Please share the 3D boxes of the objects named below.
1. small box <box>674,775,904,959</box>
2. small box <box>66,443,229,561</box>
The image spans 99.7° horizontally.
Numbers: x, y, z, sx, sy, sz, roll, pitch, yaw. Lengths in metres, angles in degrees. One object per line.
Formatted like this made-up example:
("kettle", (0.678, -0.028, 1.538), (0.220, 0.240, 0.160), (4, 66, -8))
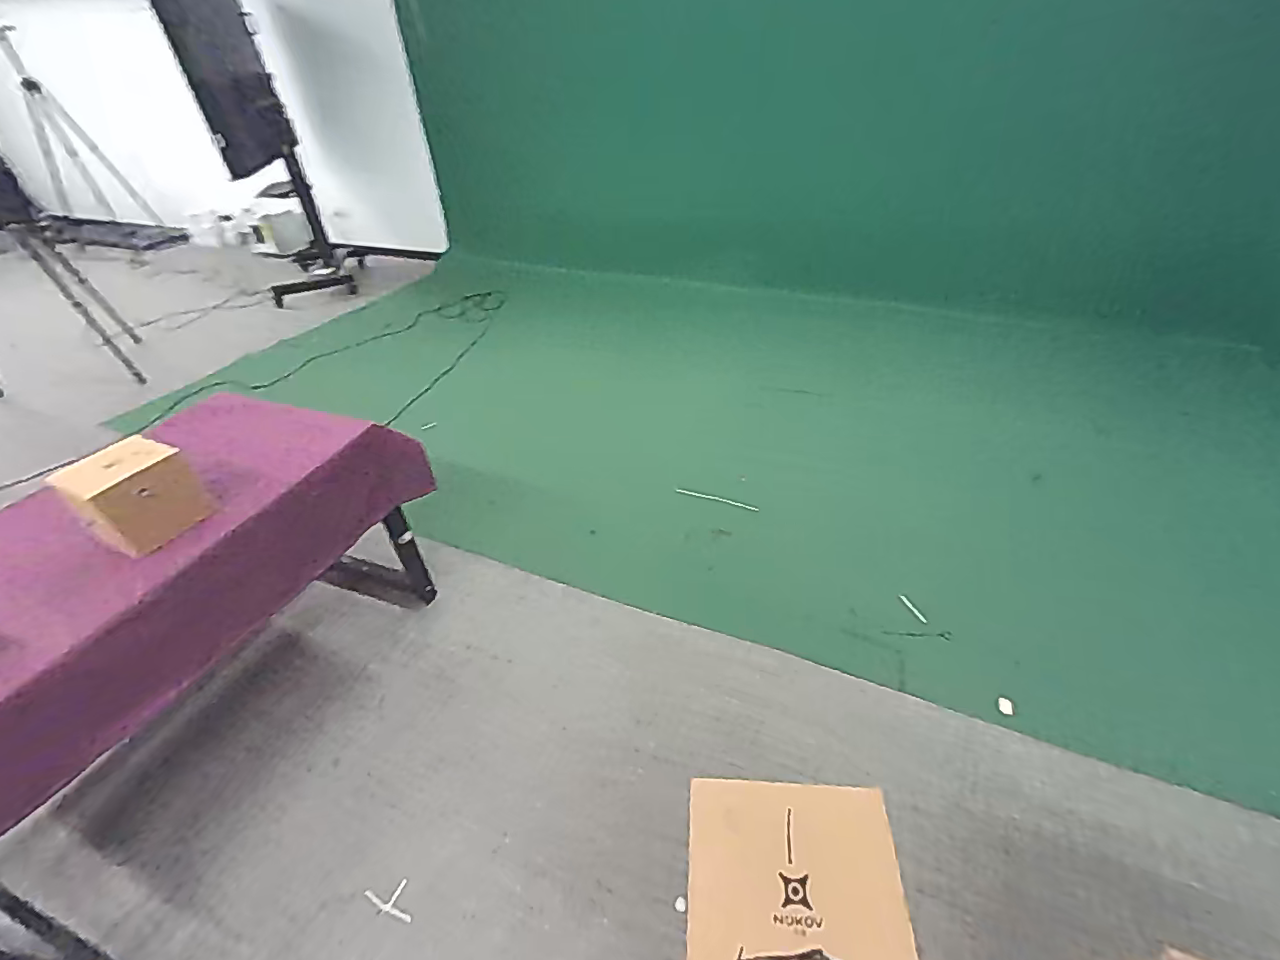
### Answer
("small box", (0.121, 0.384, 0.468), (0.168, 0.176, 0.179), (-2, 40, 8))
("small box", (-1.064, 0.049, 1.185), (0.168, 0.176, 0.179), (15, 42, 22))
